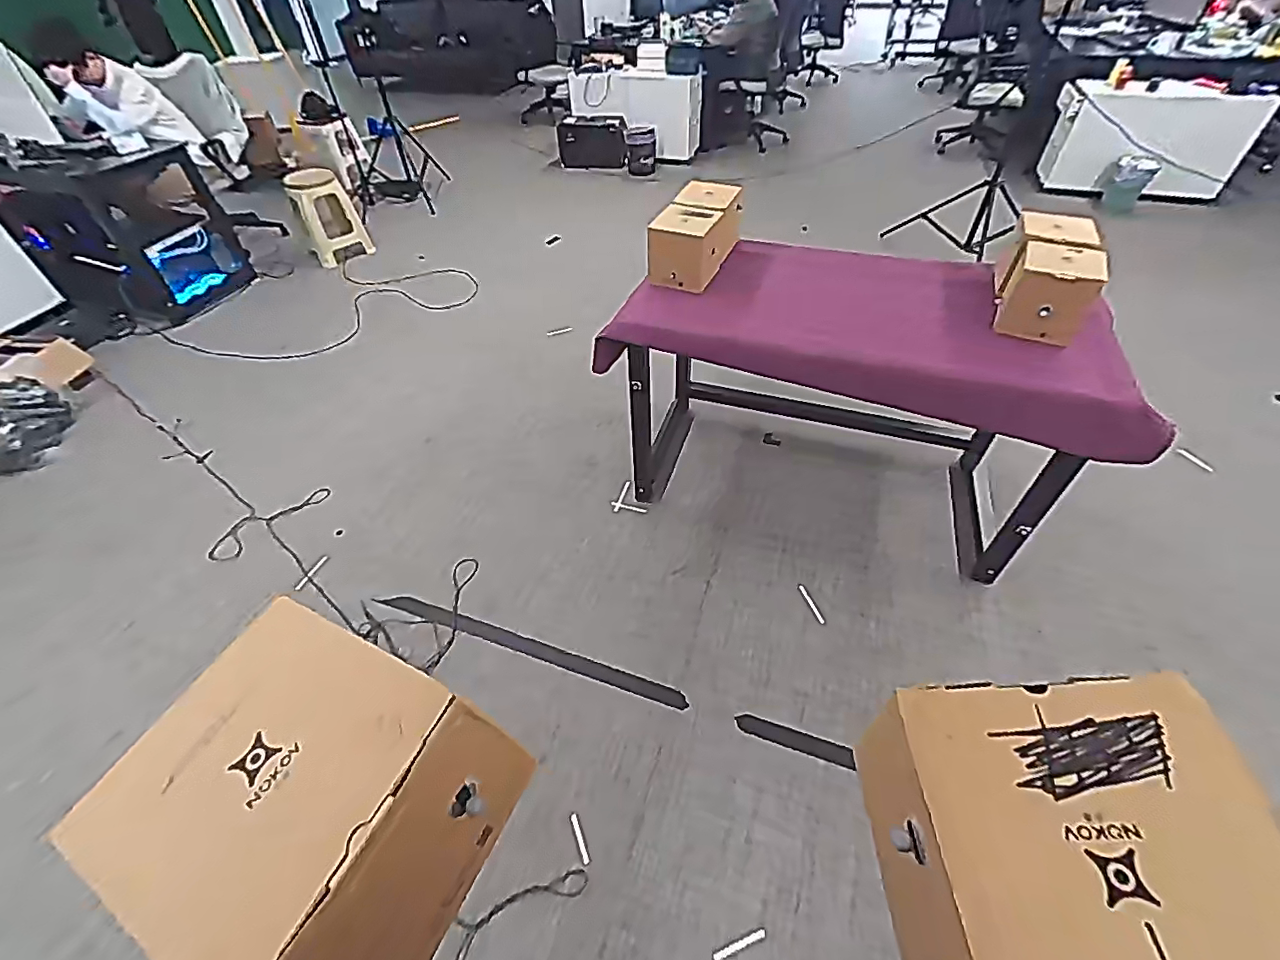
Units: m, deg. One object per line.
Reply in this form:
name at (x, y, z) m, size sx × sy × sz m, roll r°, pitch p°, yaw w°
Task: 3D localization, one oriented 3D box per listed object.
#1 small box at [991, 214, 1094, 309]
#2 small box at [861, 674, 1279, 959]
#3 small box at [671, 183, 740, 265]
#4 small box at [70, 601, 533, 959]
small box at (1.064, -0.585, 1.447) m, size 0.168 × 0.176 × 0.179 m, roll 17°, pitch 49°, yaw 16°
small box at (0.252, 0.239, 0.338) m, size 0.168 × 0.176 × 0.179 m, roll -6°, pitch 51°, yaw 6°
small box at (0.198, -0.792, 1.673) m, size 0.168 × 0.176 × 0.179 m, roll 16°, pitch 50°, yaw 17°
small box at (-0.202, 0.218, 0.376) m, size 0.179 × 0.176 × 0.168 m, roll 16°, pitch 54°, yaw 24°
